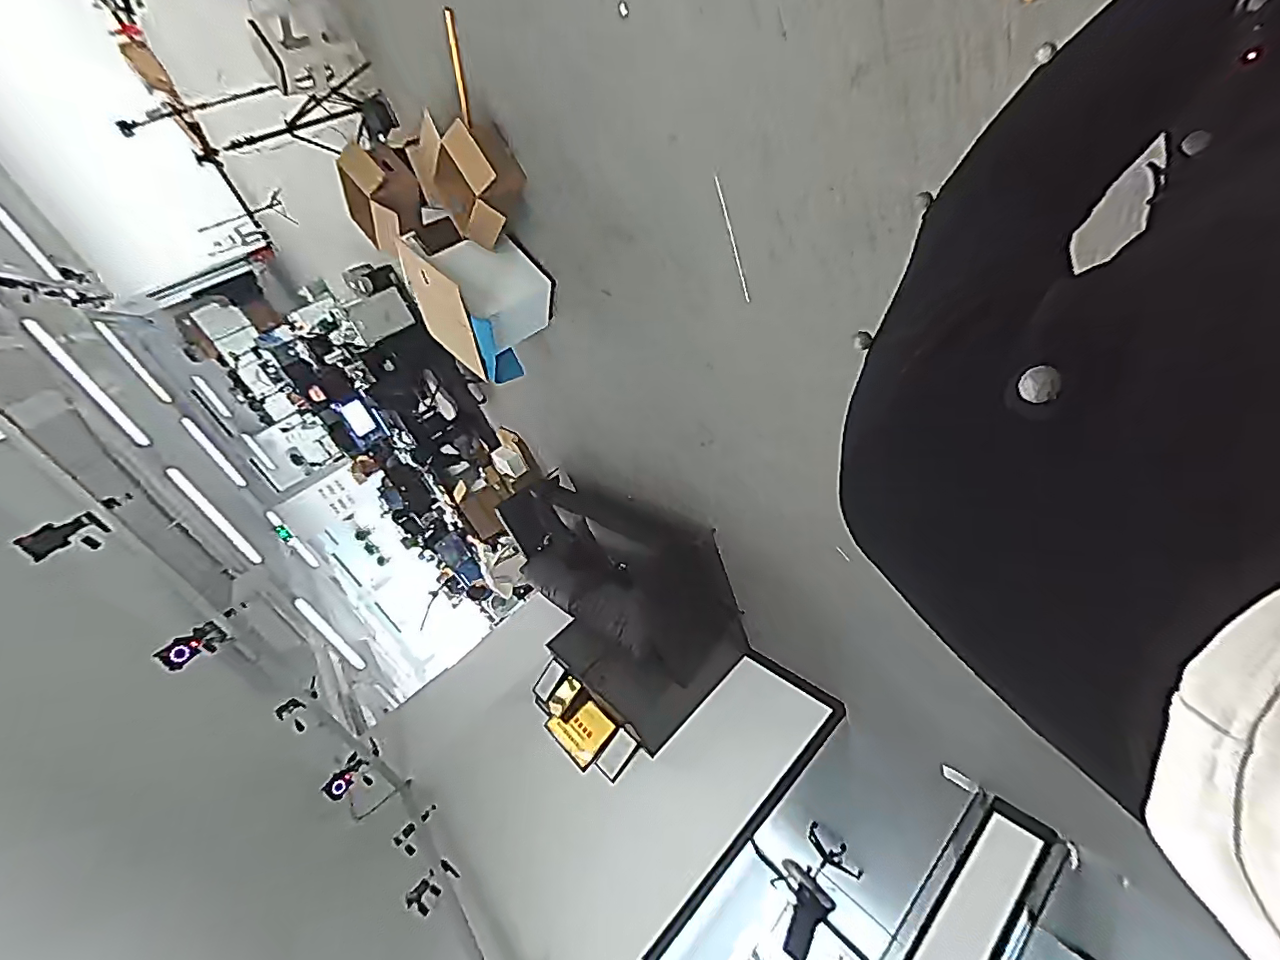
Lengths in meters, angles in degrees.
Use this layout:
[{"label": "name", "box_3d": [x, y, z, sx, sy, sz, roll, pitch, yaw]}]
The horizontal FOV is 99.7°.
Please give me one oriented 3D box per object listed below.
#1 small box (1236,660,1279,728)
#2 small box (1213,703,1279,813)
[{"label": "small box", "box_3d": [1.719, 0.608, 1.402, 0.168, 0.176, 0.179, 29, 146, 47]}, {"label": "small box", "box_3d": [1.597, 0.700, 1.344, 0.168, 0.176, 0.179, 31, 148, 44]}]
